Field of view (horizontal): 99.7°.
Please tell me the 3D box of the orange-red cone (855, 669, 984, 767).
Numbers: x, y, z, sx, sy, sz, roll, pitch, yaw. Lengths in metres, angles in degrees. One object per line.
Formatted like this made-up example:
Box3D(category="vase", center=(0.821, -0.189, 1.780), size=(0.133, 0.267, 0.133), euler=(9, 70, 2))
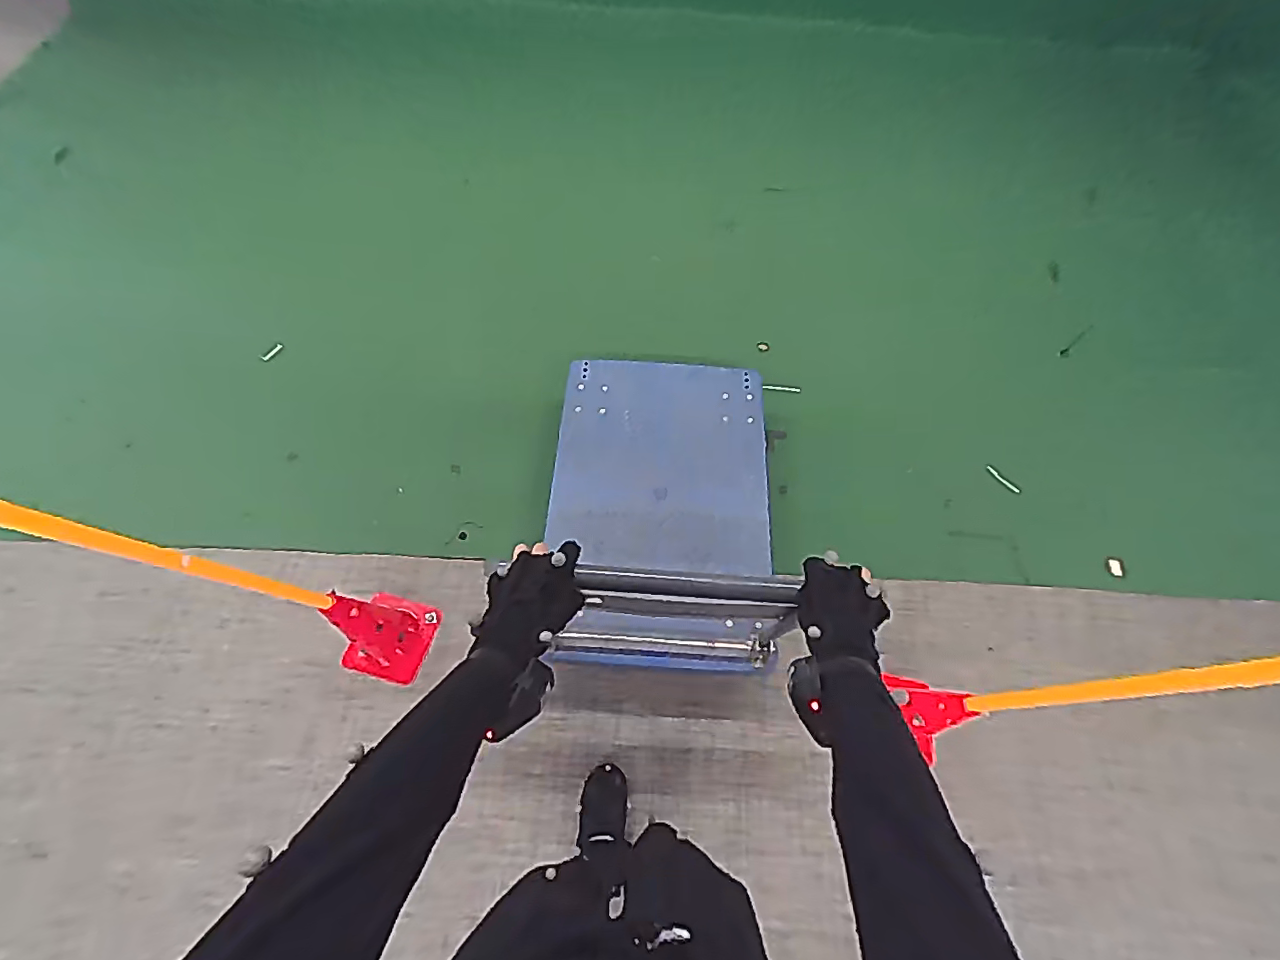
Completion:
Box3D(category="orange-red cone", center=(0.644, 0.513, 1.199), size=(0.198, 0.360, 0.199), euler=(13, 64, 5))
